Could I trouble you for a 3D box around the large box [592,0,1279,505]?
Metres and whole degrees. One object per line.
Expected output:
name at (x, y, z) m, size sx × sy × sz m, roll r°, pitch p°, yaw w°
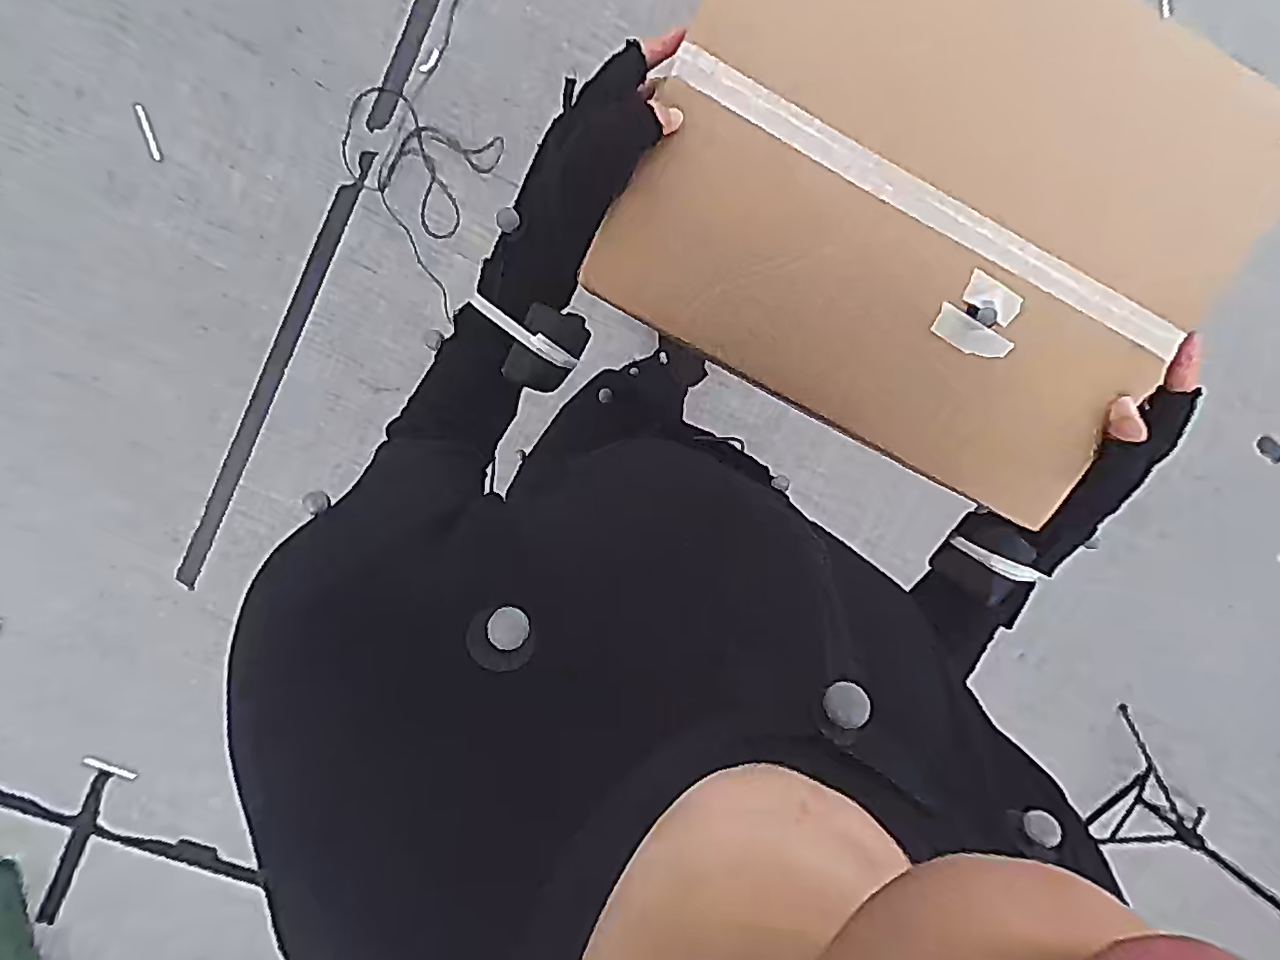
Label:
large box at (0.207, -0.232, 0.531) m, size 0.408 × 0.320 × 0.320 m, roll 28°, pitch 105°, yaw -5°
